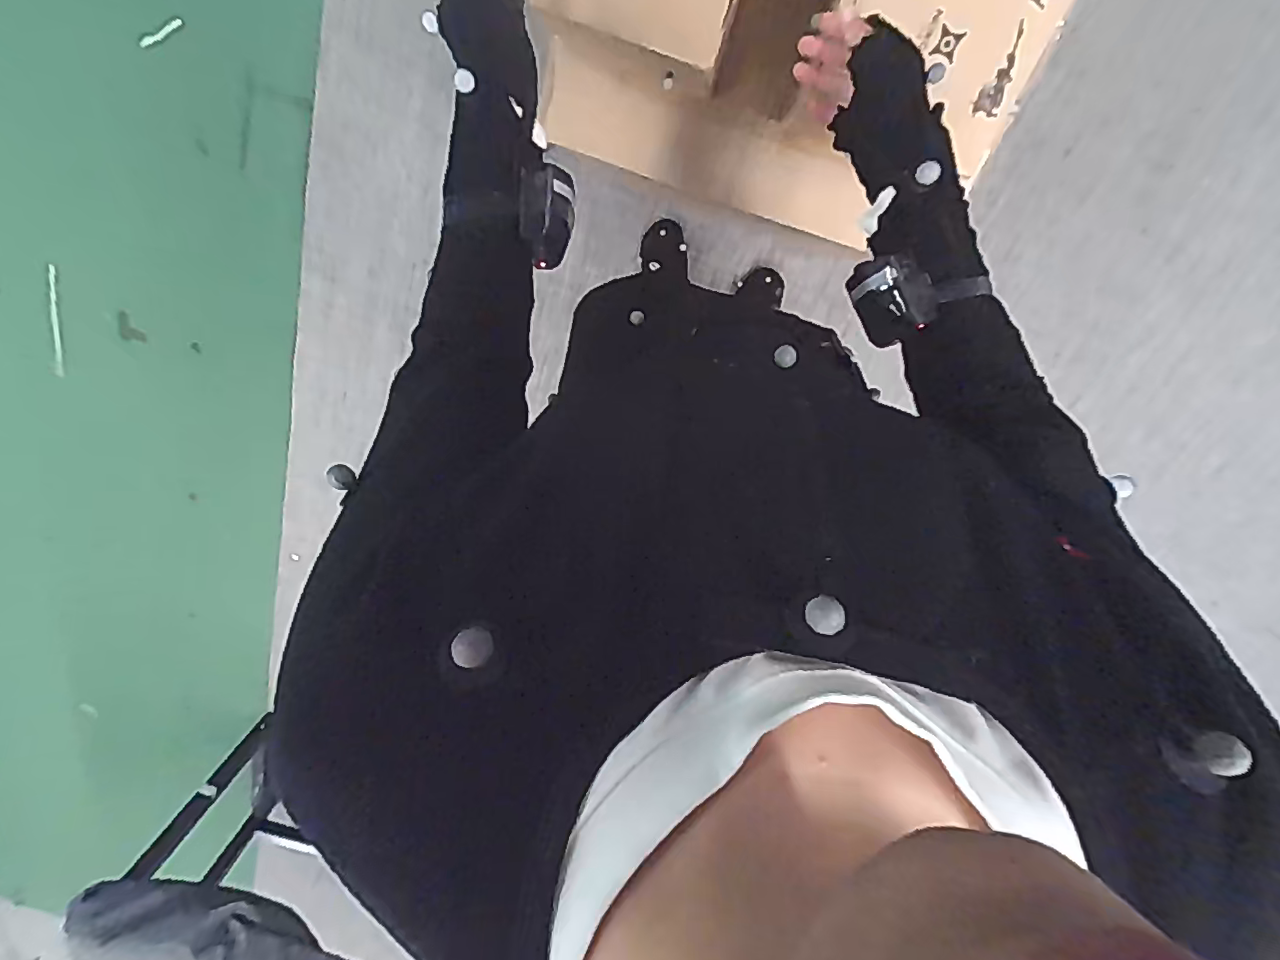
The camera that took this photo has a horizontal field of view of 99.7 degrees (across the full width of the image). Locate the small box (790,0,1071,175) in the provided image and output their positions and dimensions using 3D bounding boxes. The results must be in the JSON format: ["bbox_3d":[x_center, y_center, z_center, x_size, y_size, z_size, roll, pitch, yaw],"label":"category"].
[{"bbox_3d":[0.268,-0.419,0.539,0.179,0.176,0.168,20,119,-4],"label":"small box"}]

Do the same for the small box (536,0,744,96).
[{"bbox_3d":[0.019,-0.501,0.526,0.179,0.176,0.168,18,117,-2],"label":"small box"}]
